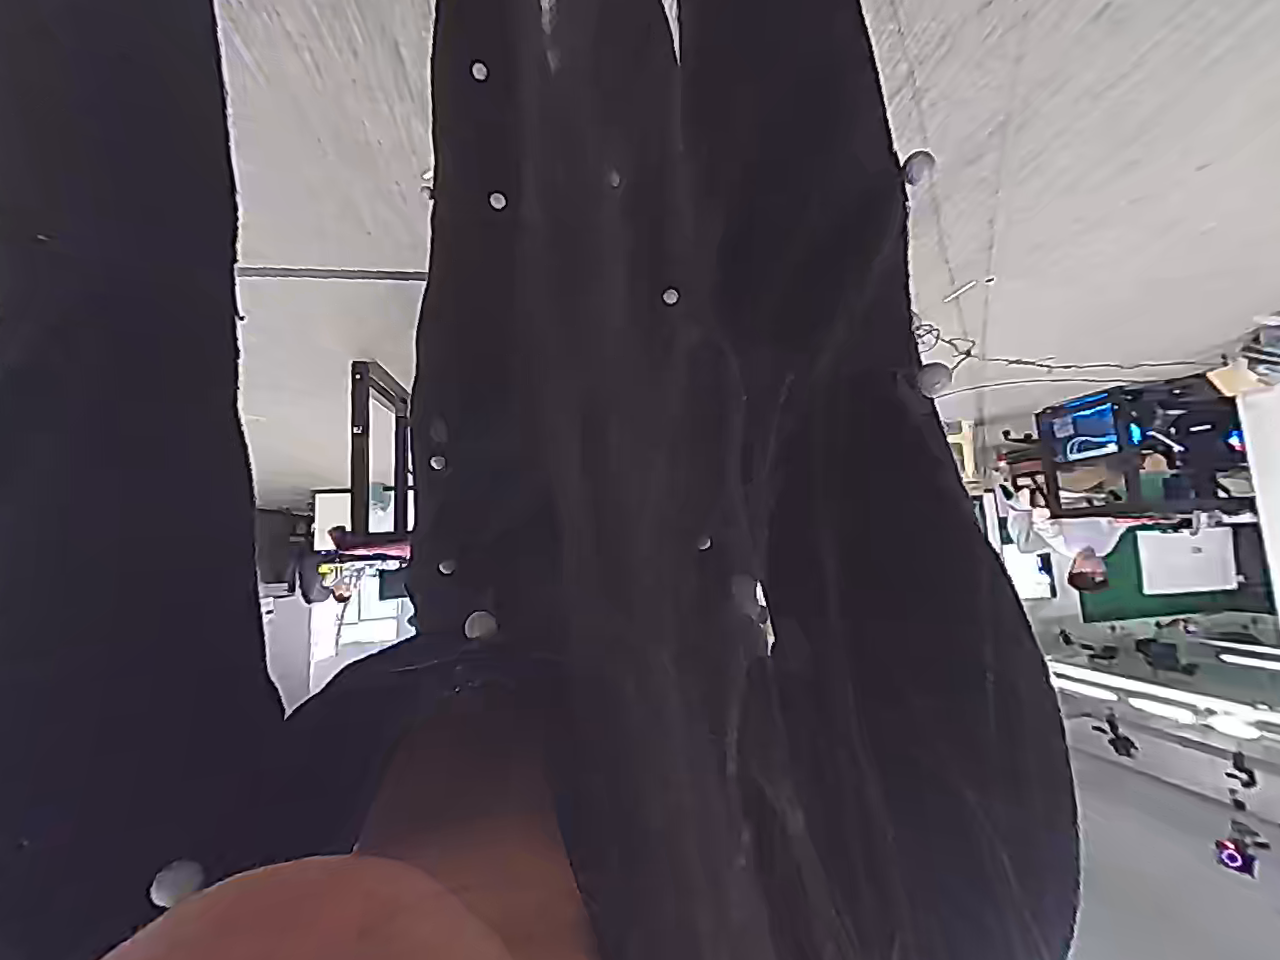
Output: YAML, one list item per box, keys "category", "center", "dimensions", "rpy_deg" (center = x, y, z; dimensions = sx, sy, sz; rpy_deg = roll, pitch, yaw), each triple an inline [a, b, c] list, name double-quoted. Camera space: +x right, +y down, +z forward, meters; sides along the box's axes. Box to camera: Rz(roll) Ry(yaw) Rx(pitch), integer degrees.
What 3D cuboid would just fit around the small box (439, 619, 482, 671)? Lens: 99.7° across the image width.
- category: "small box"
  center: [-0.743, 0.680, 2.246]
  dimensions: [0.168, 0.176, 0.179]
  rpy_deg: [0, 174, -16]
